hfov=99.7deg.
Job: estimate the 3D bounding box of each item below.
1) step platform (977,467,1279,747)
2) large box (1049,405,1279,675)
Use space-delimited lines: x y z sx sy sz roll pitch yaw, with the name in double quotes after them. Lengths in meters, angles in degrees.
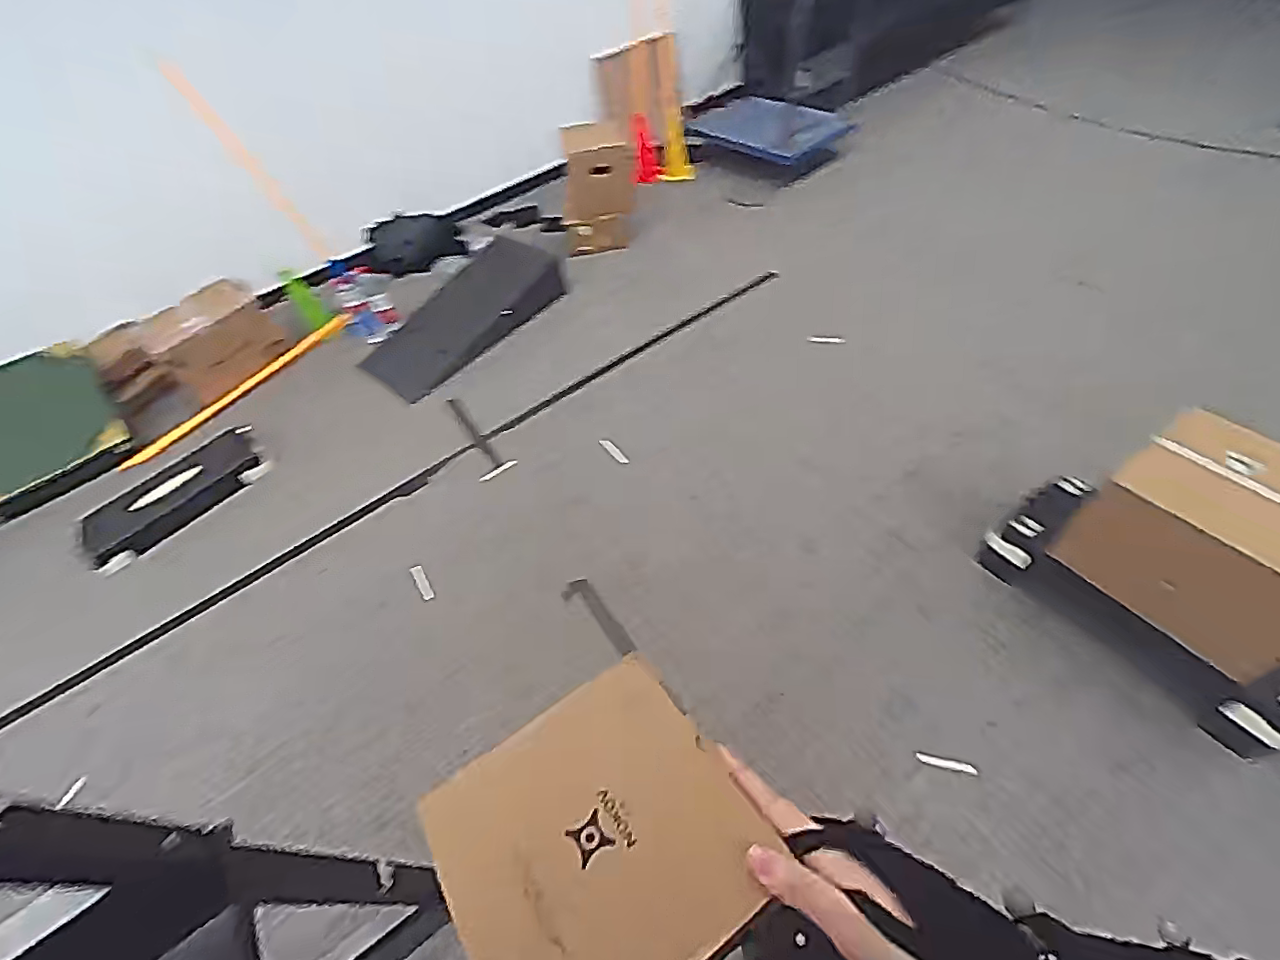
1.225 0.267 1.331 0.286 0.204 0.684 -29 51 -12 "step platform"
1.211 0.119 1.142 0.320 0.320 0.408 -33 51 -16 "large box"
